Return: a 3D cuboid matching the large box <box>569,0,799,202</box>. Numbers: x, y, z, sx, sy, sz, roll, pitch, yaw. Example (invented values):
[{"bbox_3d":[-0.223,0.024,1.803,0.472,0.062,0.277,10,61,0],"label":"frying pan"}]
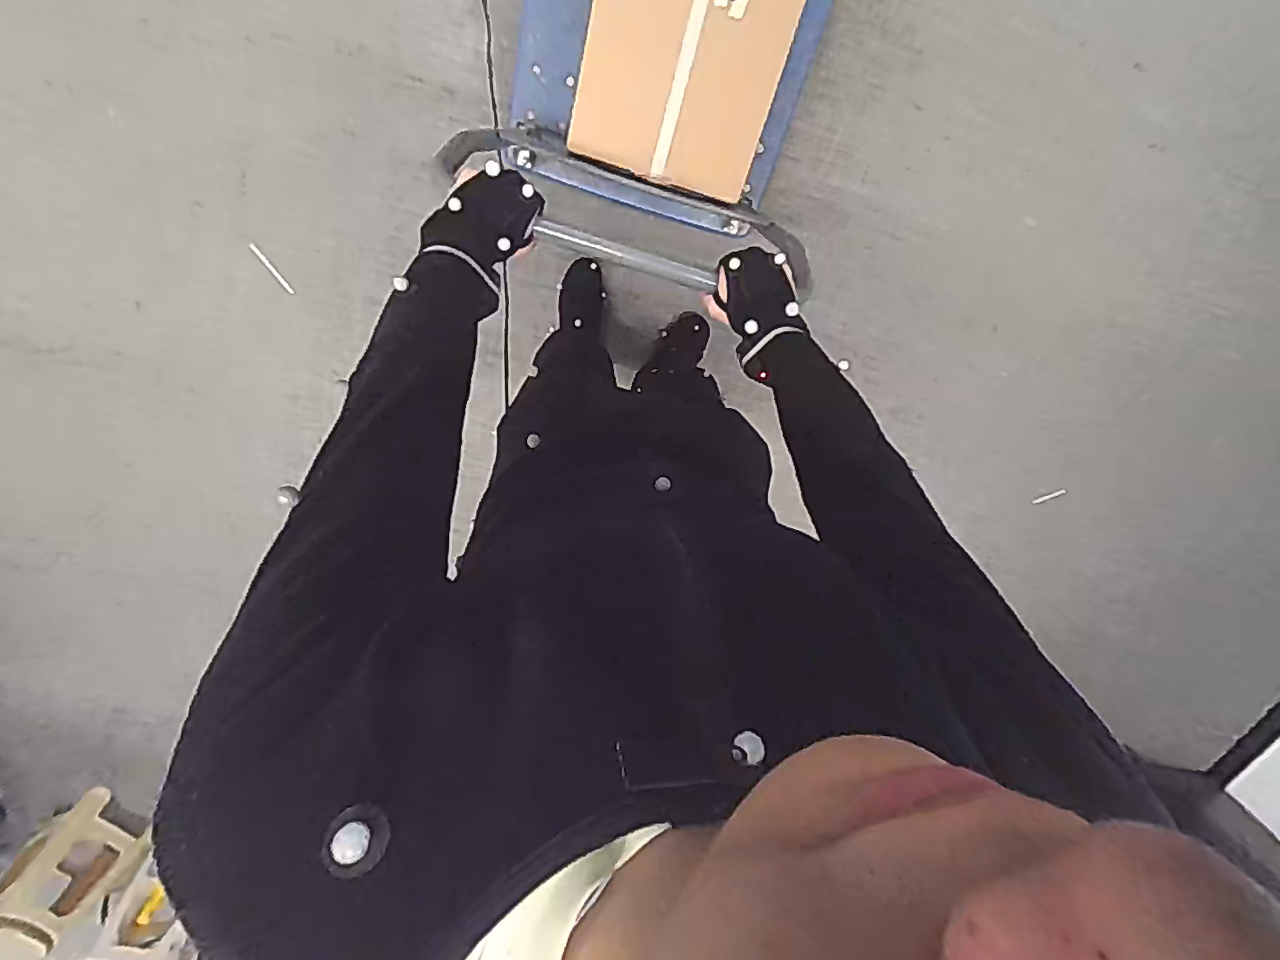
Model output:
[{"bbox_3d":[0.071,-0.762,0.984,0.320,0.320,0.408,13,117,-9],"label":"large box"}]
